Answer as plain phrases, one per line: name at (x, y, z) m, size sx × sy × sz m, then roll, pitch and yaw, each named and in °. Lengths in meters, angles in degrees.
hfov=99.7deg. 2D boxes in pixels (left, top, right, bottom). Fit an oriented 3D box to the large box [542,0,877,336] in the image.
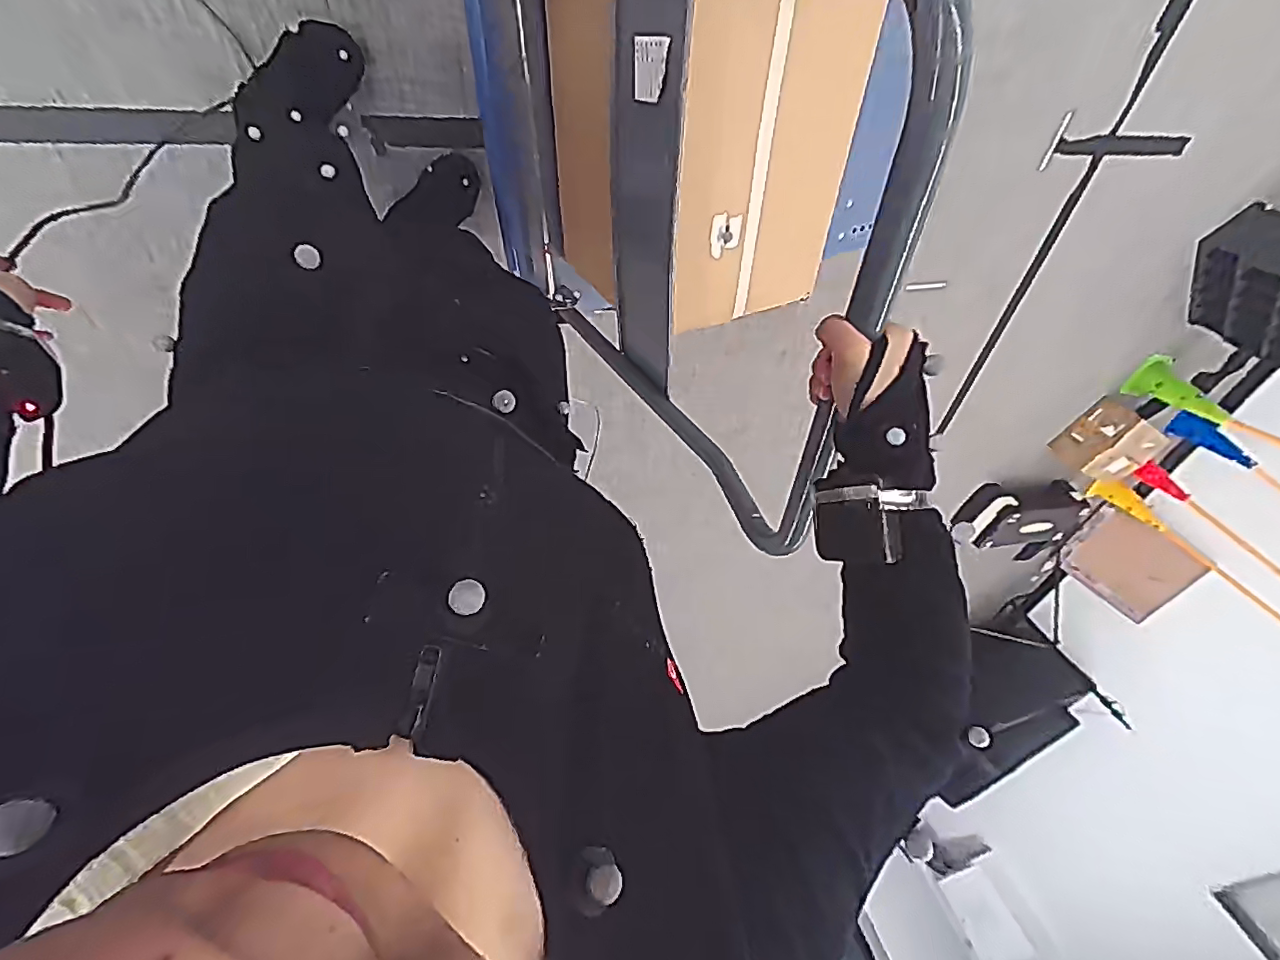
large box at (0.072, -0.492, 0.789) m, size 0.320 × 0.320 × 0.408 m, roll -20°, pitch 140°, yaw -20°
